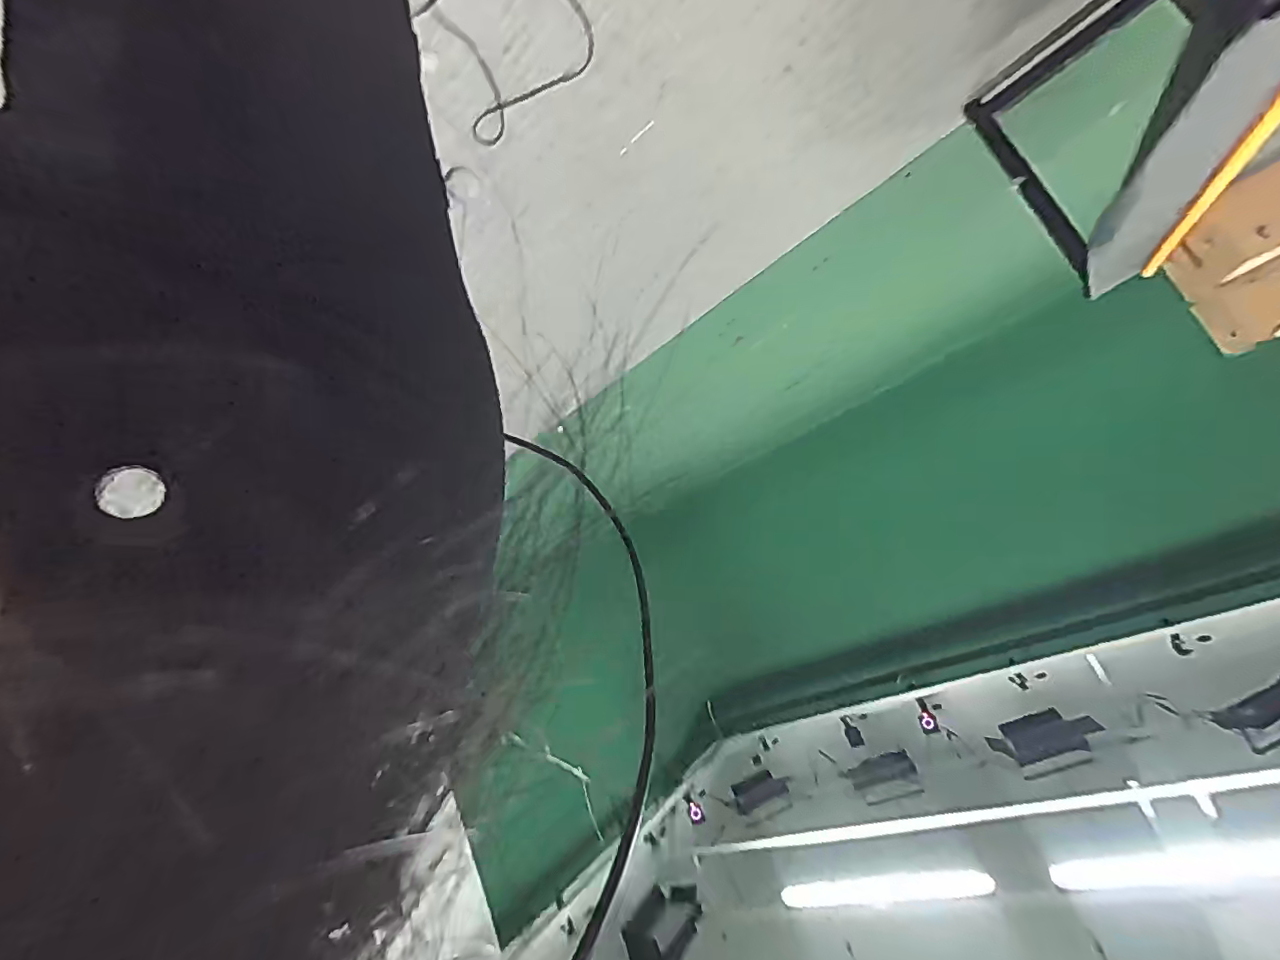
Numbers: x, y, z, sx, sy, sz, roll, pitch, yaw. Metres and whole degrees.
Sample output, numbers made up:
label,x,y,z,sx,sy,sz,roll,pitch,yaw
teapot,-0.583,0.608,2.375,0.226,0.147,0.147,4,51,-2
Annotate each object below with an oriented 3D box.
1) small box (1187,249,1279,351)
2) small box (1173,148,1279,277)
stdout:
label,x,y,z,sx,sy,sz,roll,pitch,yaw
small box,1.577,-0.464,1.389,0.168,0.176,0.179,-29,166,25
small box,1.390,-0.608,1.234,0.179,0.176,0.168,-31,165,27
